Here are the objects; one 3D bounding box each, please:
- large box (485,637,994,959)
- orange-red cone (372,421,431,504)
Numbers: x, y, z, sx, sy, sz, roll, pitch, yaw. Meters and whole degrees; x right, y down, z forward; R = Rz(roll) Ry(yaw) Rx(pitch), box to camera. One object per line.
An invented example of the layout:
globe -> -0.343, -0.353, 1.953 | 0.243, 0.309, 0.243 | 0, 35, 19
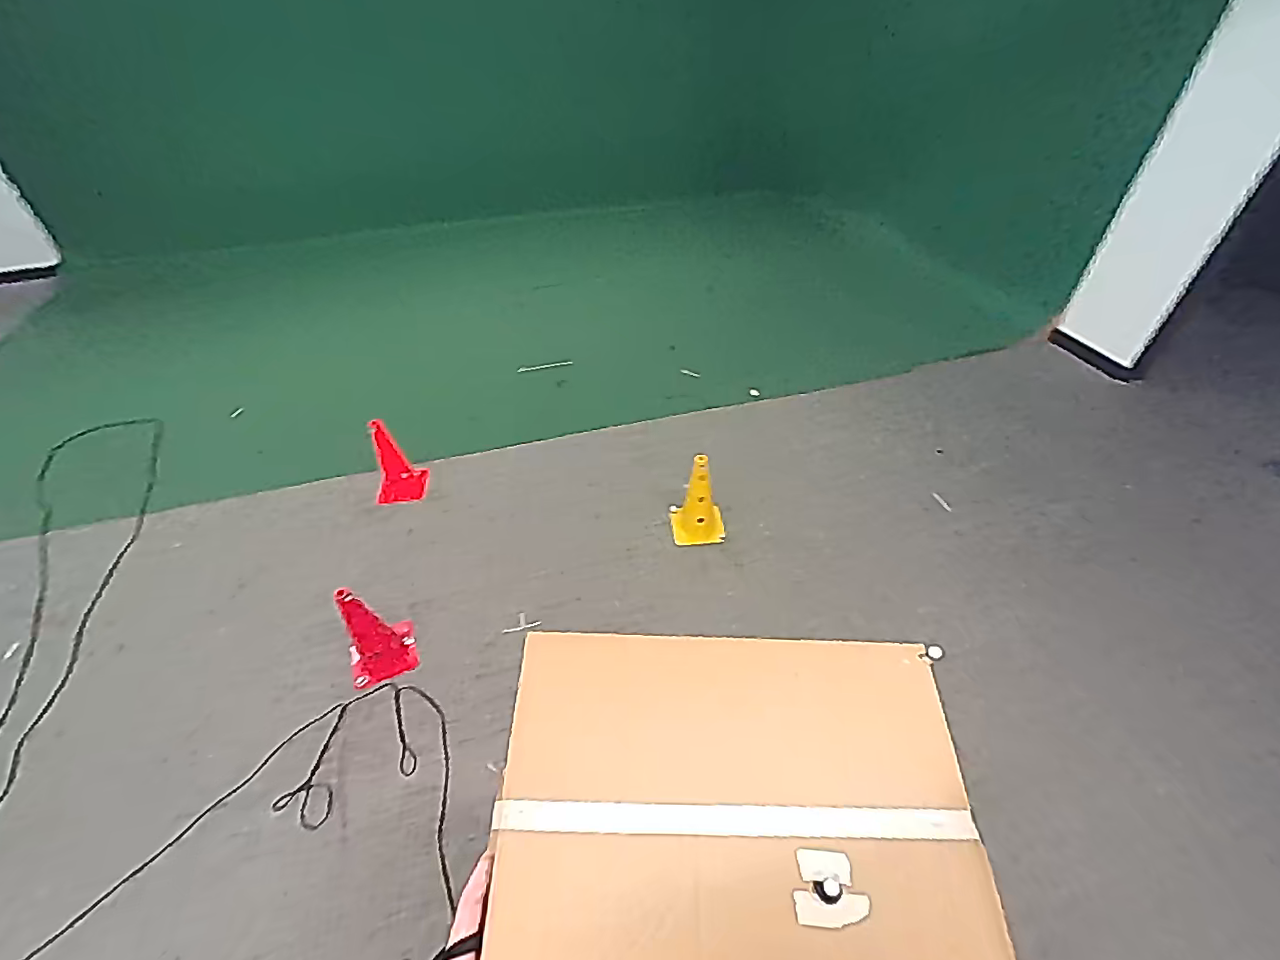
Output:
large box -> 0.071, 0.376, 0.593 | 0.408, 0.320, 0.320 | 1, 56, -2
orange-red cone -> -1.044, -0.093, 2.270 | 0.199, 0.360, 0.198 | -7, 43, -3
